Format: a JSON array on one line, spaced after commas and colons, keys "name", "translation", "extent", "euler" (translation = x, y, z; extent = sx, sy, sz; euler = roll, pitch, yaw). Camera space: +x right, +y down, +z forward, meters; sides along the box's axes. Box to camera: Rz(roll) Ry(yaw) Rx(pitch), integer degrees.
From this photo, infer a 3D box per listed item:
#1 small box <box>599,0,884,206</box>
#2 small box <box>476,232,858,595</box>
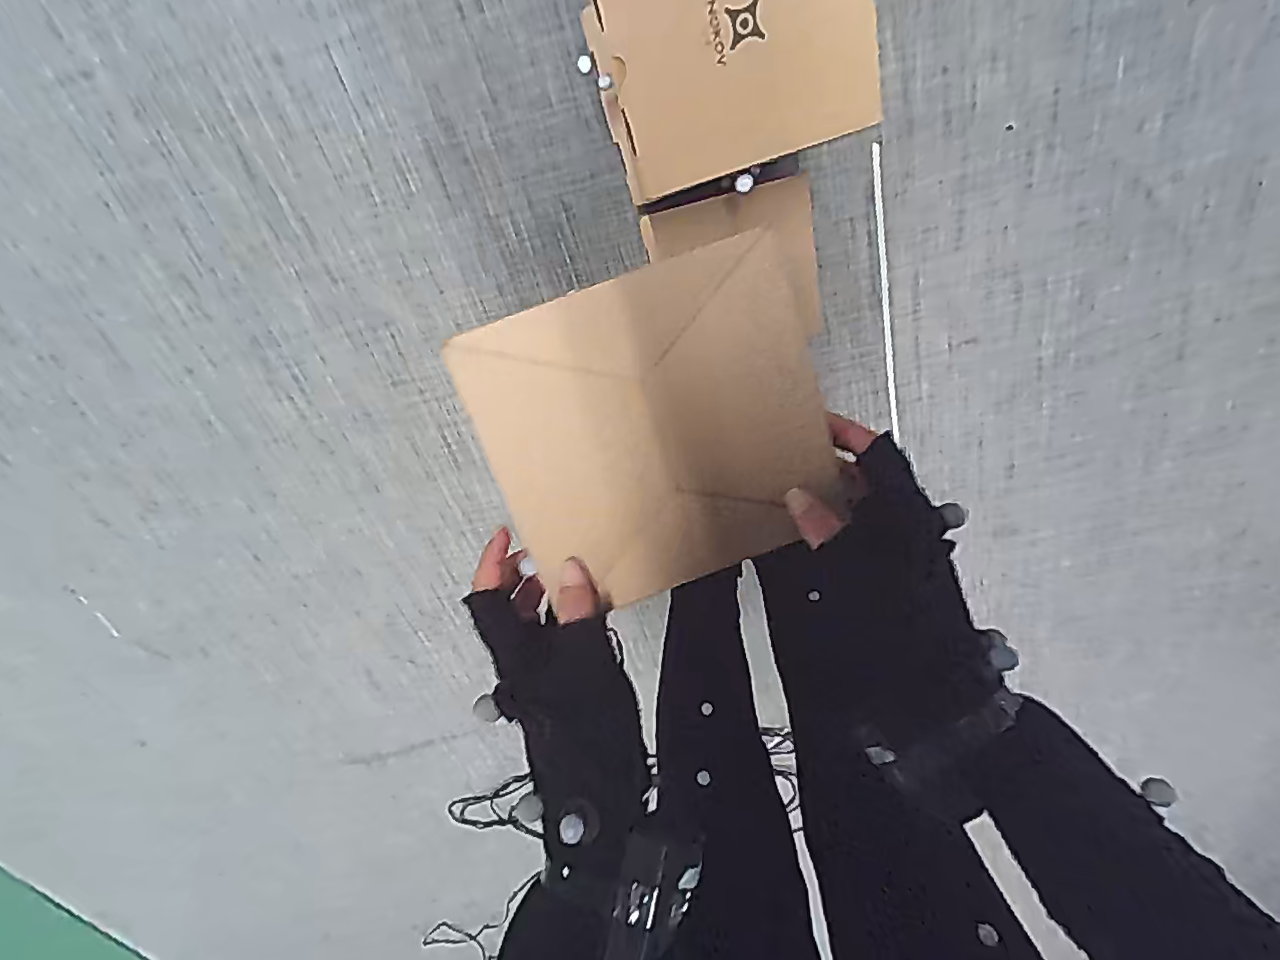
[{"name": "small box", "translation": [0.070, -0.334, 0.429], "extent": [0.179, 0.176, 0.168], "euler": [-14, 117, 10]}, {"name": "small box", "translation": [0.010, -0.044, 0.360], "extent": [0.179, 0.176, 0.168], "euler": [-19, 104, -1]}]
